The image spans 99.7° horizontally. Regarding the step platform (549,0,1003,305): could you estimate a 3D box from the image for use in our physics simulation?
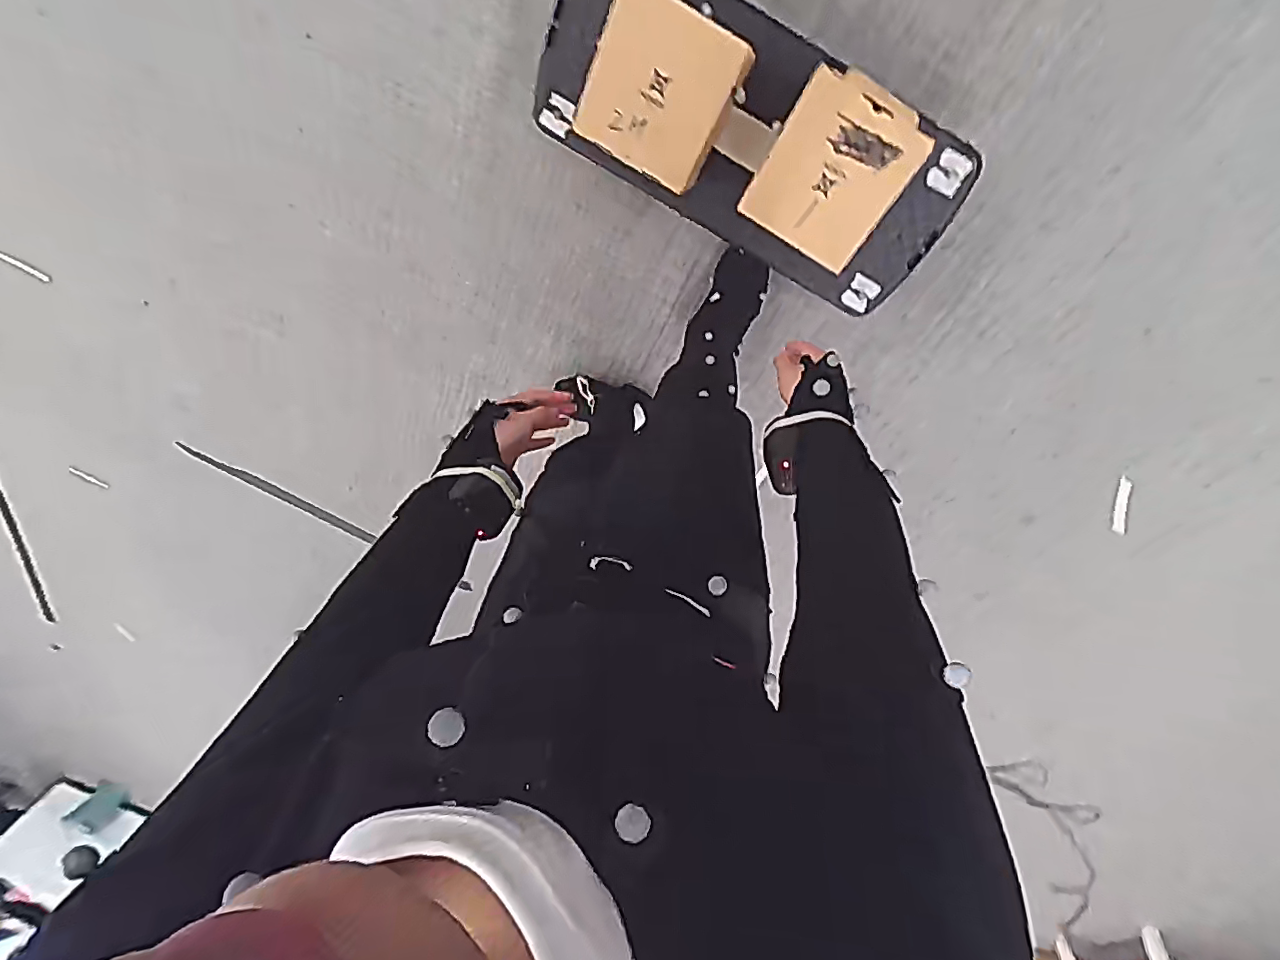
[{"bbox_3d":[0.203,-0.570,0.871,0.684,0.204,0.286,29,125,-5],"label":"step platform"}]

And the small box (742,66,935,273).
[{"bbox_3d":[0.259,-0.423,0.742,0.168,0.176,0.179,30,127,-6],"label":"small box"}]

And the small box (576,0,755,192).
[{"bbox_3d":[0.040,-0.525,0.729,0.168,0.176,0.179,30,126,-5],"label":"small box"}]
